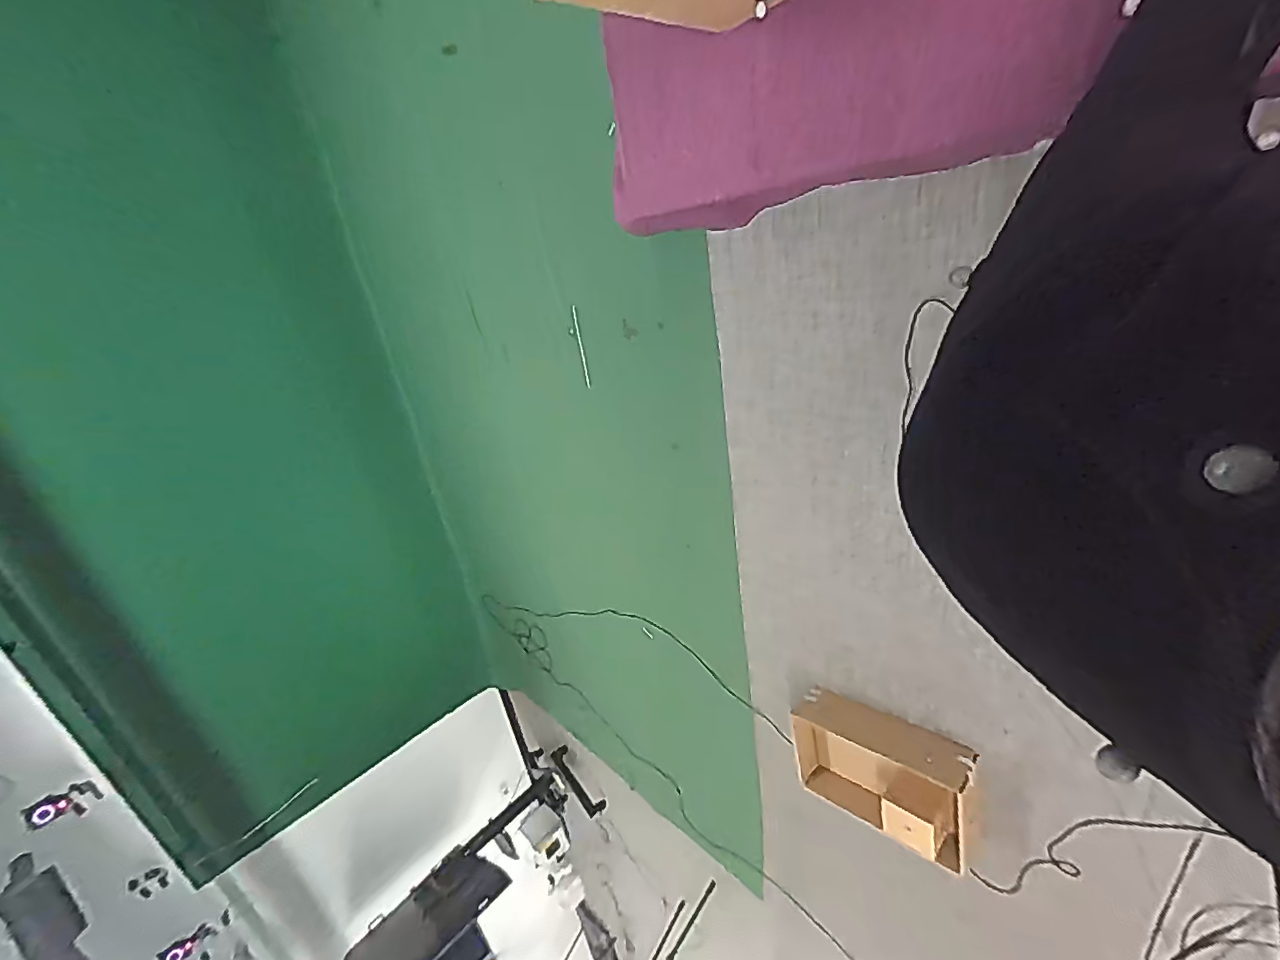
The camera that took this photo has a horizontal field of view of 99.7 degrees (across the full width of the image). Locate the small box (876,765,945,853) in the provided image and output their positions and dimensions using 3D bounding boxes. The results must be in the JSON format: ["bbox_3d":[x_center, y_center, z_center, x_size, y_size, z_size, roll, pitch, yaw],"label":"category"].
[{"bbox_3d":[0.968,1.161,1.924,0.179,0.176,0.168,10,118,47],"label":"small box"}]

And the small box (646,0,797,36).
[{"bbox_3d":[0.110,-0.663,0.637,0.179,0.176,0.168,12,121,45],"label":"small box"}]

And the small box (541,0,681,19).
[{"bbox_3d":[-0.004,-0.600,0.537,0.179,0.176,0.168,13,122,45],"label":"small box"}]
